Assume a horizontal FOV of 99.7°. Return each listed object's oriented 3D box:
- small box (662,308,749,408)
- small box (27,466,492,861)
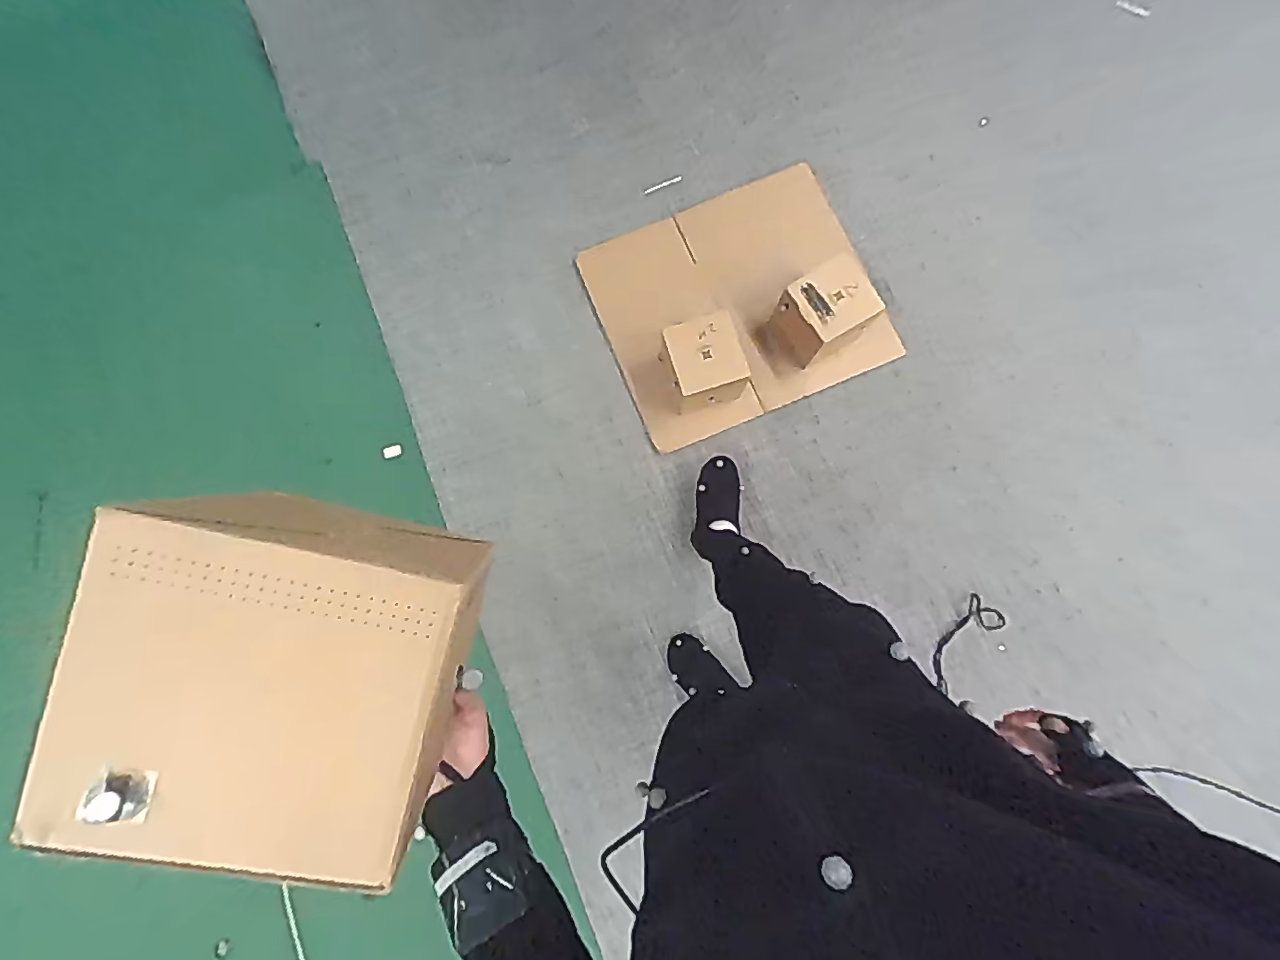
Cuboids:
[{"bbox_3d":[0.156,-0.287,1.329,0.168,0.176,0.179,-17,81,-1],"label":"small box"},{"bbox_3d":[-0.203,0.094,0.347,0.179,0.168,0.176,16,89,-9],"label":"small box"}]
